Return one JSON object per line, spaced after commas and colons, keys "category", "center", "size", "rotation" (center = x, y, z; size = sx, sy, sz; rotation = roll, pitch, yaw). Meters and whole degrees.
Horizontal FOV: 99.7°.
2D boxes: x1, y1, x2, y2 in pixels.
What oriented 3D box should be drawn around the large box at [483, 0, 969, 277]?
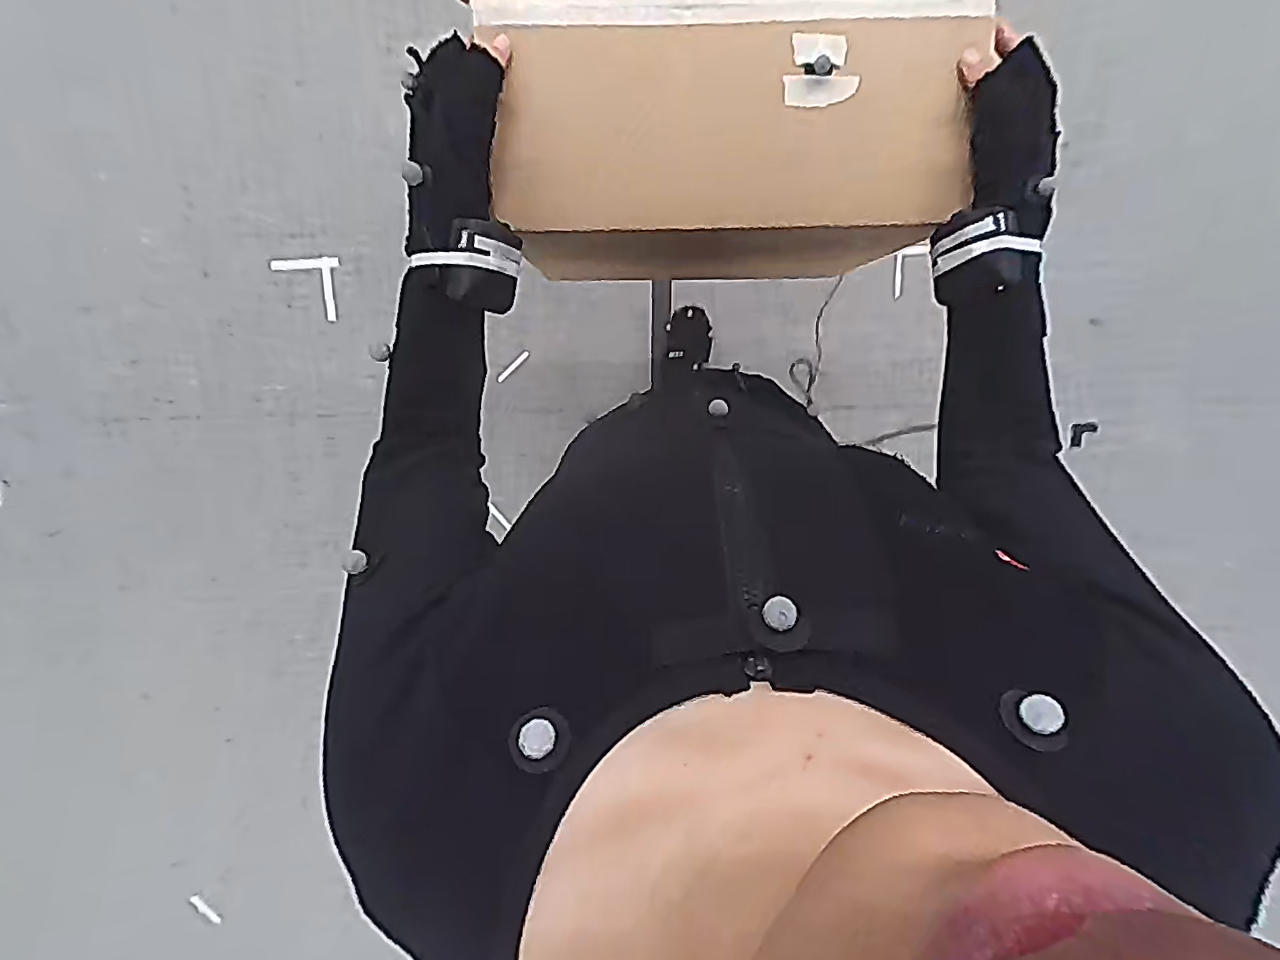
{"category": "large box", "center": [0.066, -0.410, 0.583], "size": [0.408, 0.320, 0.320], "rotation": [-2, 103, -1]}
